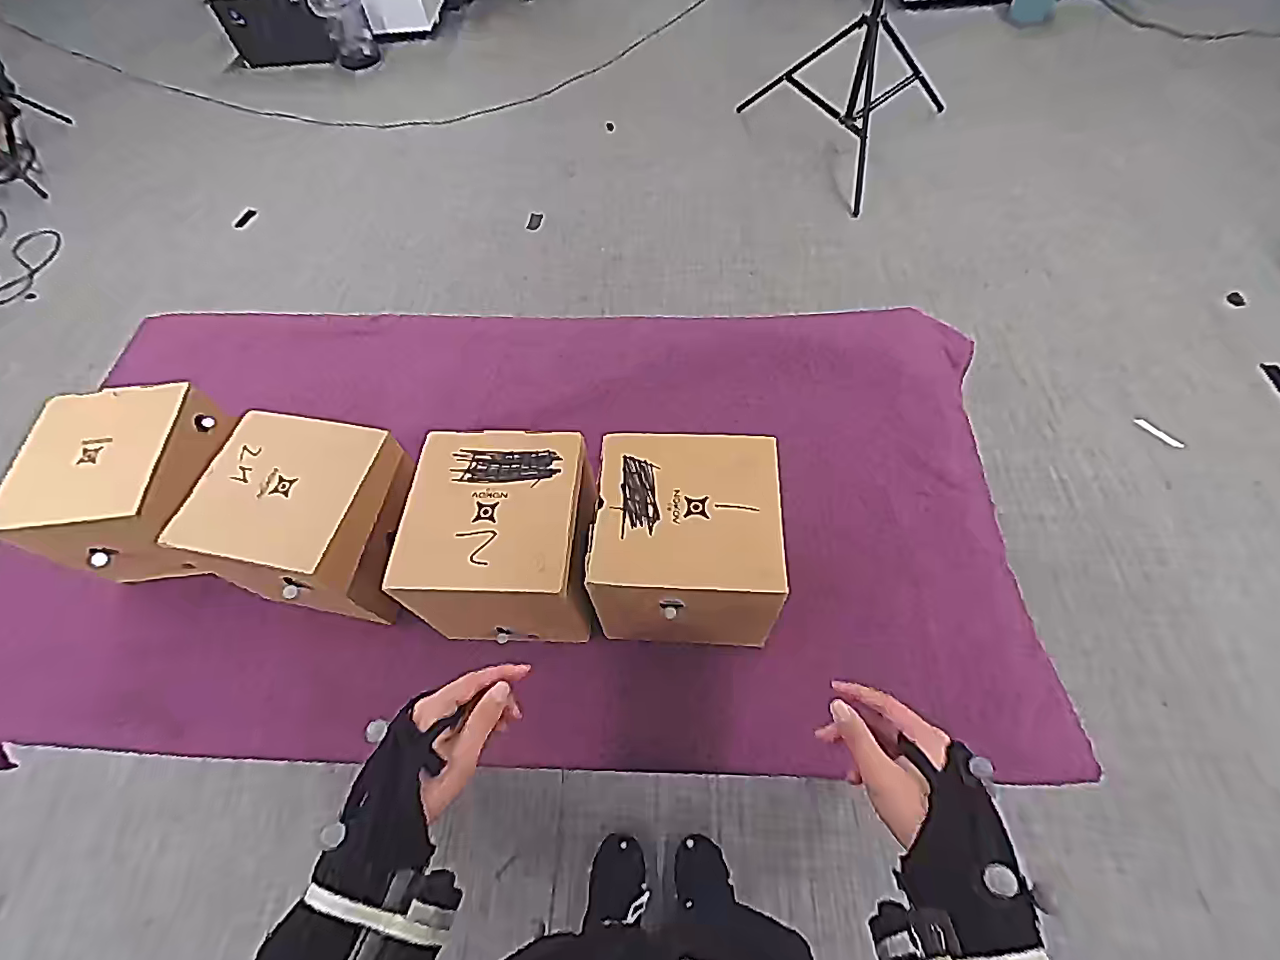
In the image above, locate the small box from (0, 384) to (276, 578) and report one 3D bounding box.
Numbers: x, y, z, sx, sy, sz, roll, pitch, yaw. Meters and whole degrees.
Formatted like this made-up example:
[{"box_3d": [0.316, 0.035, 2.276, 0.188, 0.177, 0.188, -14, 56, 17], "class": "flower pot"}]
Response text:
[{"box_3d": [-0.586, 0.011, 0.658, 0.168, 0.176, 0.179, -7, 60, 0], "class": "small box"}]
